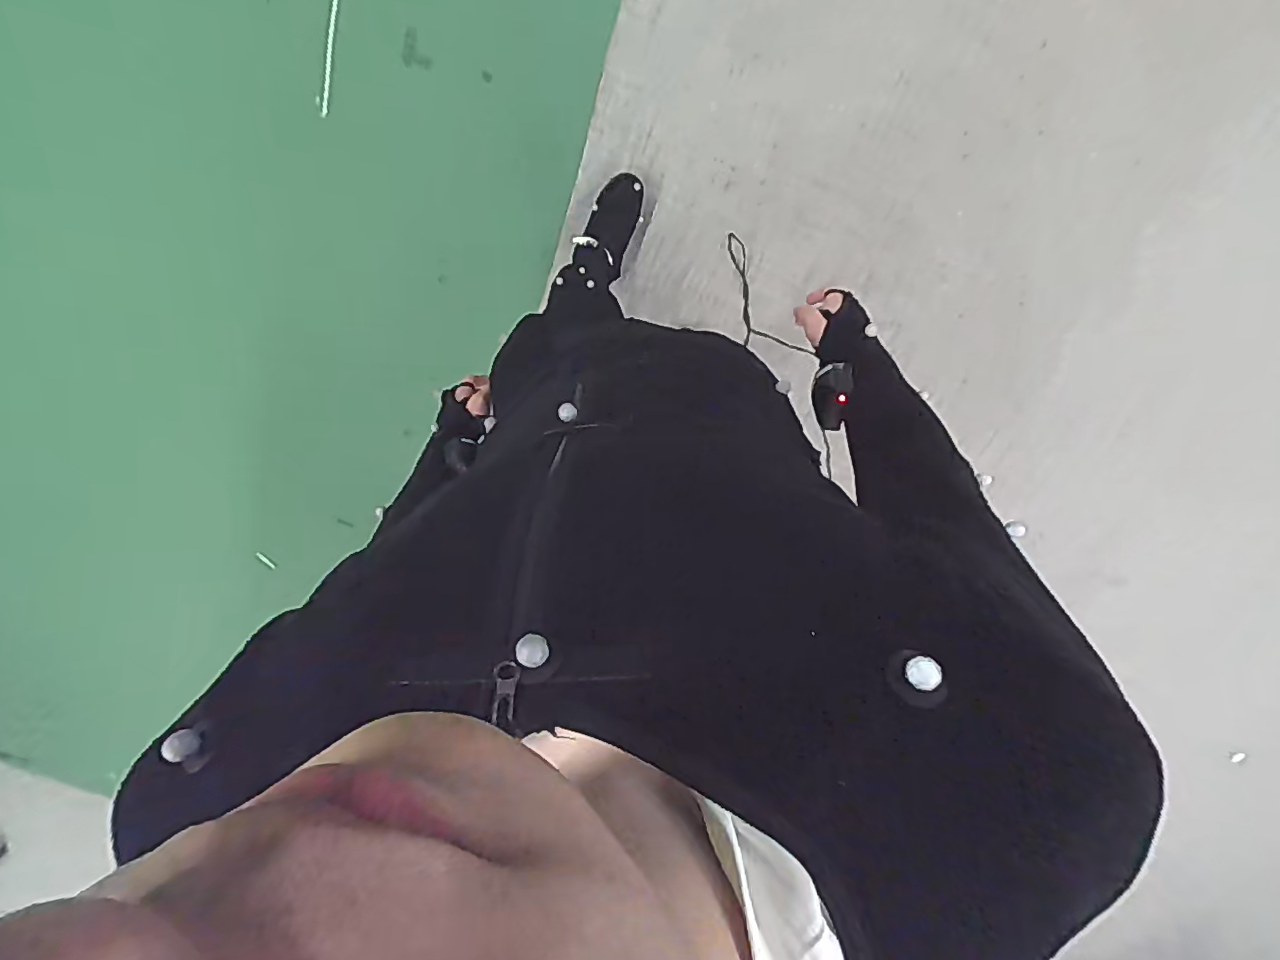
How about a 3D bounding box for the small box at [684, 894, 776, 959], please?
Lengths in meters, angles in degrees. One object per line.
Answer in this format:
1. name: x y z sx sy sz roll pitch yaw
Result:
1. small box: 0.201 1.099 1.240 0.168 0.176 0.179 20 113 -2
